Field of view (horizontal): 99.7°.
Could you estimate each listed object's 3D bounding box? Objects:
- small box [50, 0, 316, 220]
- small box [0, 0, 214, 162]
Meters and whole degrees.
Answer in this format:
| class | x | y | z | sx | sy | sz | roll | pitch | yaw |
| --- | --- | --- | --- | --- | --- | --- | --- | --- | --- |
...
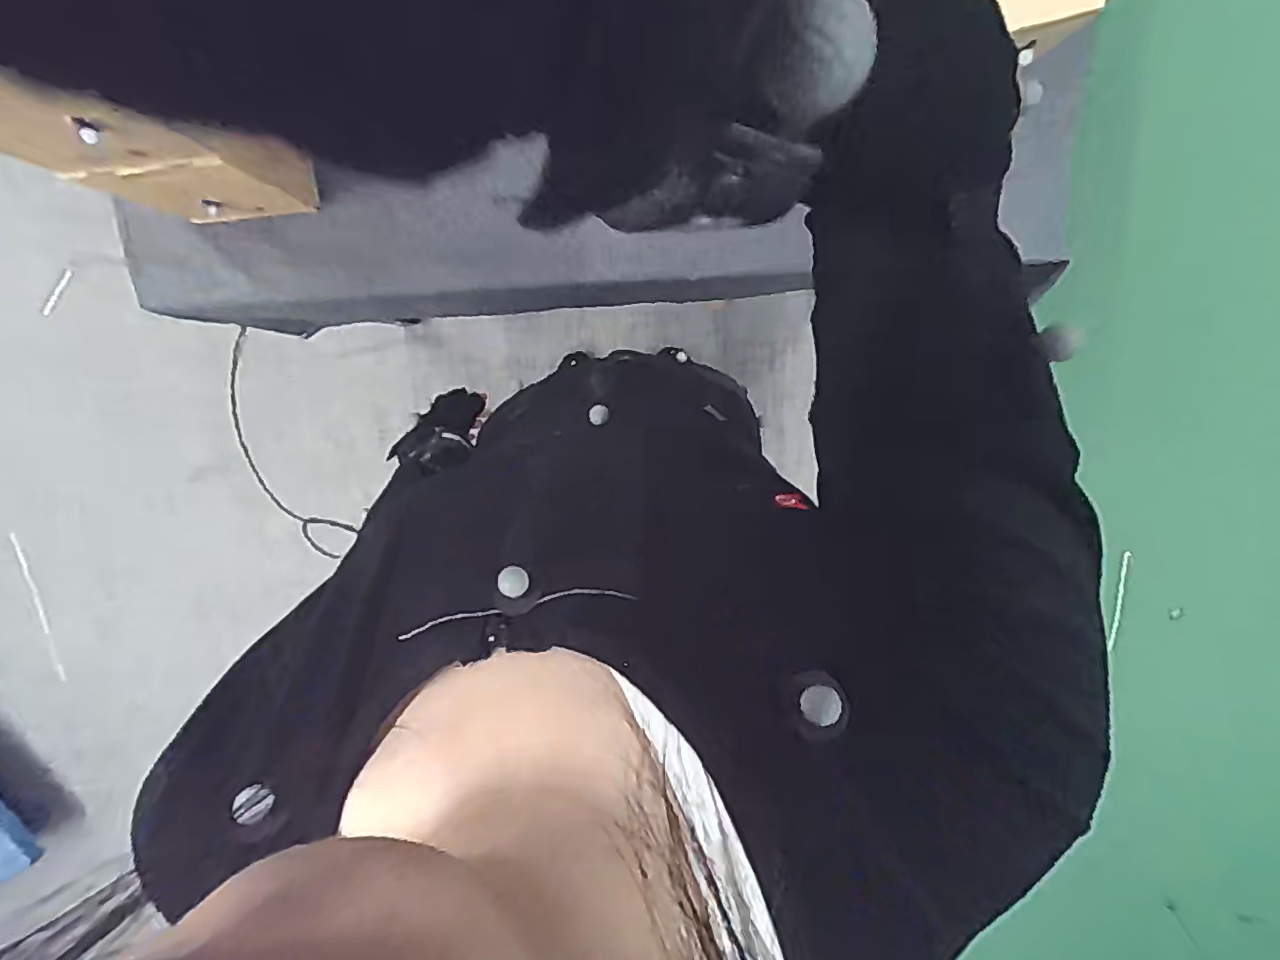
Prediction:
| class | x | y | z | sx | sy | sz | roll | pitch | yaw |
| --- | --- | --- | --- | --- | --- | --- | --- | --- | --- |
| small box | -0.486 | -0.398 | 0.578 | 0.168 | 0.176 | 0.179 | -5 | 103 | 0 |
| small box | -0.482 | -0.366 | 0.418 | 0.168 | 0.176 | 0.179 | -5 | 102 | -1 |
